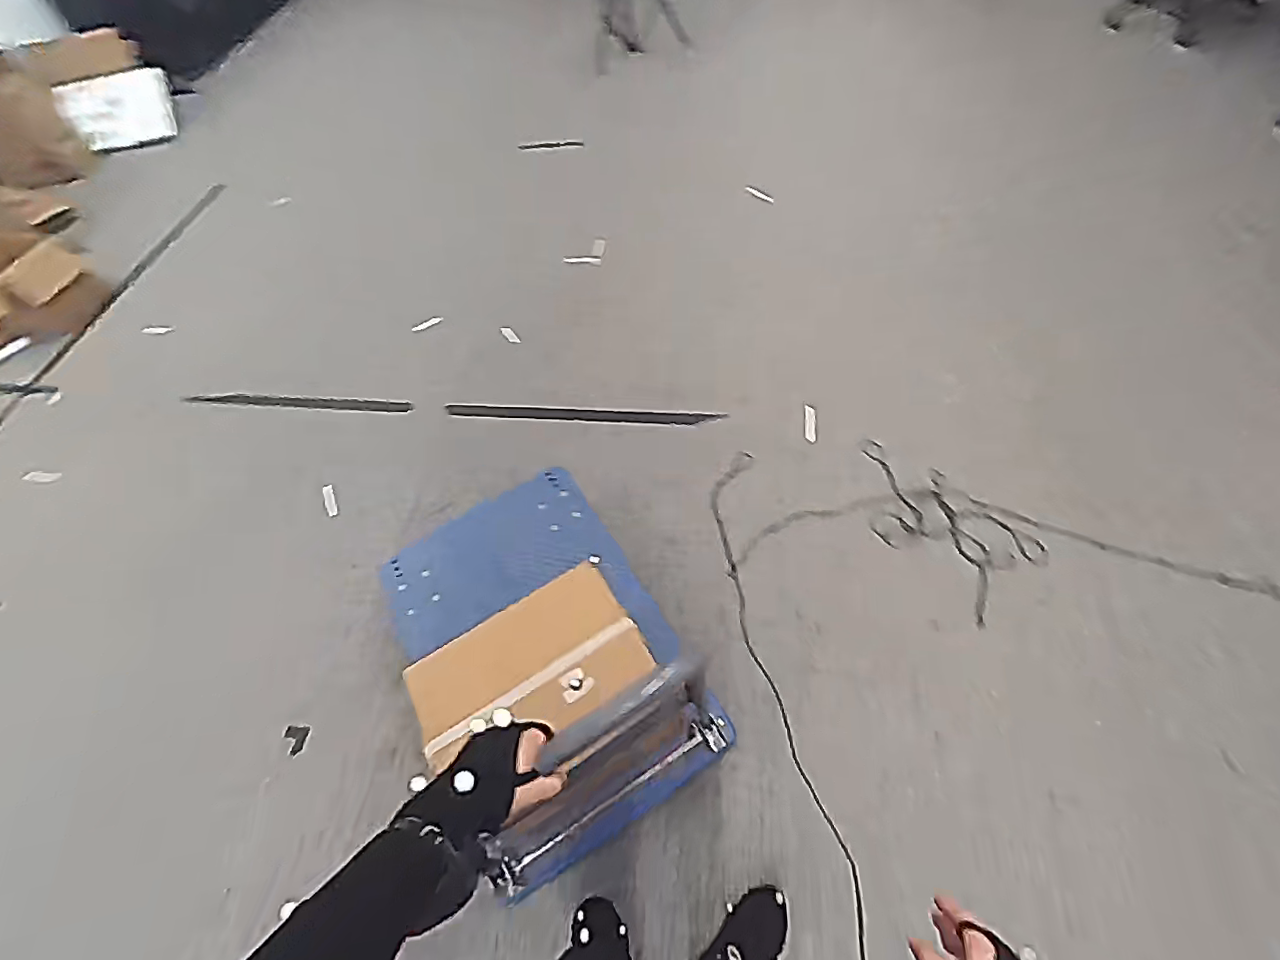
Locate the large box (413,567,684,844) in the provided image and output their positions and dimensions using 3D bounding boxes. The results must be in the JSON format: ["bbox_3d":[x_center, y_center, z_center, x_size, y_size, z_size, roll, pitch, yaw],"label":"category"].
[{"bbox_3d":[-0.163,0.454,1.086,0.408,0.320,0.320,-30,59,-12],"label":"large box"}]
